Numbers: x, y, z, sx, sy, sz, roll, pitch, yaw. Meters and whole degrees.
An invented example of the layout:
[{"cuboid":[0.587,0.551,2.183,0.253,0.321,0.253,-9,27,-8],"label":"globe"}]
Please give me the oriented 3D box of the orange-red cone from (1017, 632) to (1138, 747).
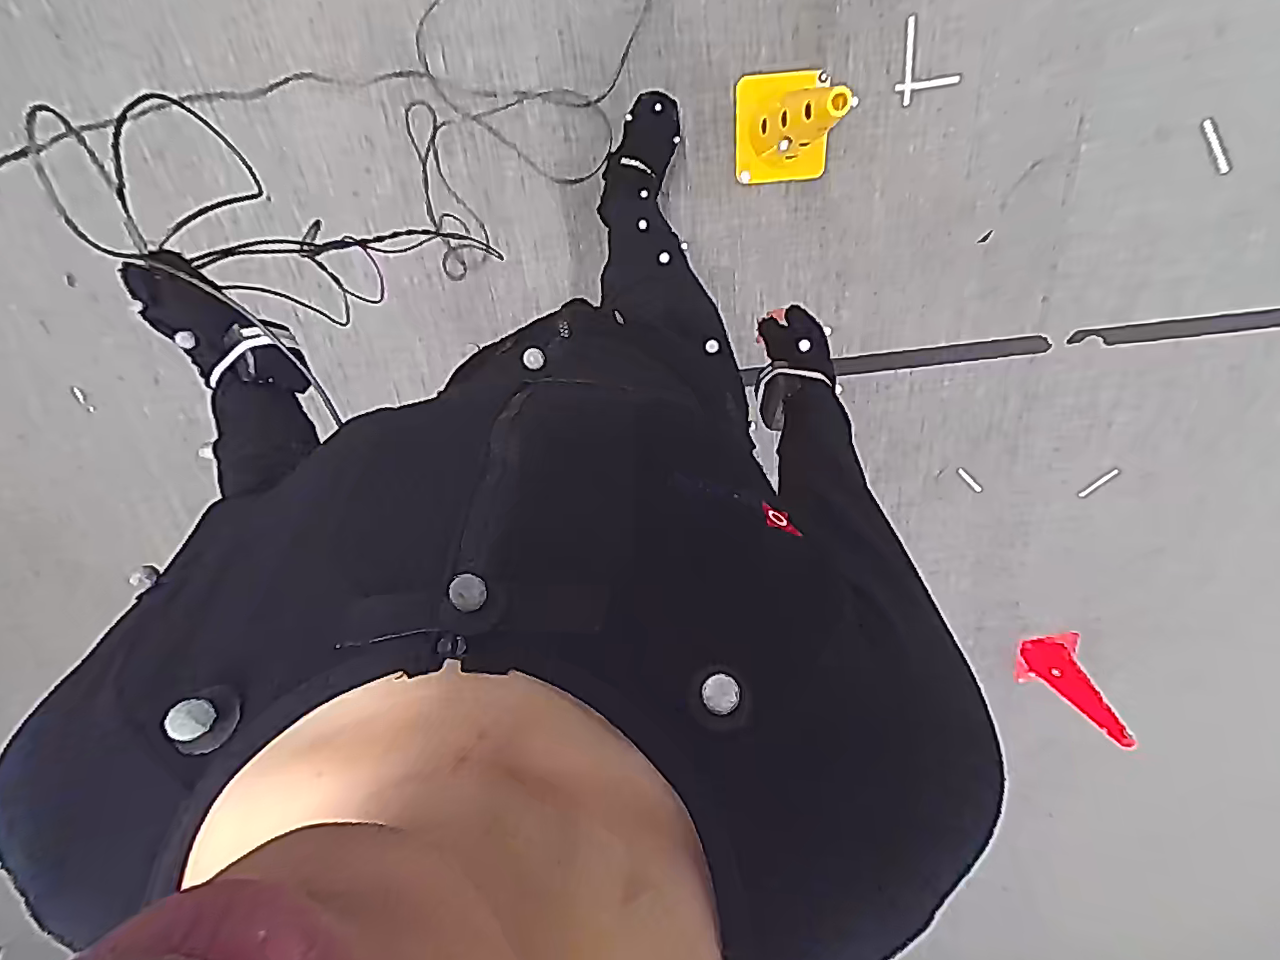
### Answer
[{"cuboid":[1.450,0.699,1.755,0.199,0.360,0.198,-11,117,2],"label":"orange-red cone"}]
